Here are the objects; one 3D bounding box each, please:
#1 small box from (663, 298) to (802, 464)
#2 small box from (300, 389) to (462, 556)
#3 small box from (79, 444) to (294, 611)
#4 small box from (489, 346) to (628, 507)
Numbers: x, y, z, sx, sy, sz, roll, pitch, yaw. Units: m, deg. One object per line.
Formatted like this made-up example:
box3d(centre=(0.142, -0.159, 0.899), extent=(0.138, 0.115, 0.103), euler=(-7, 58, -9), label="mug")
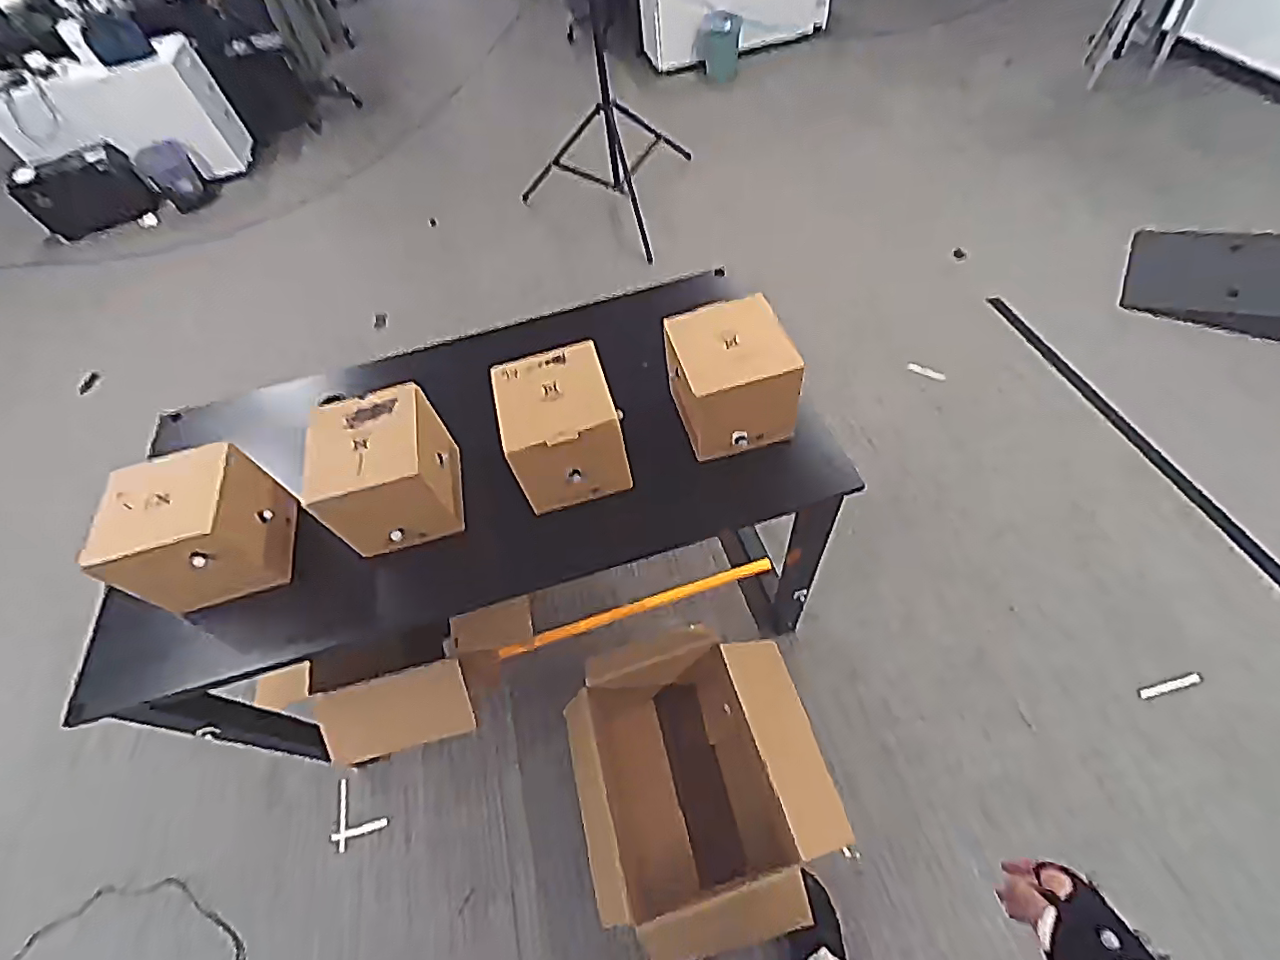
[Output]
box3d(centre=(0.142, -0.156, 0.874), extent=(0.168, 0.176, 0.179), euler=(-16, 56, -2), label="small box")
box3d(centre=(-0.391, -0.008, 0.843), extent=(0.168, 0.176, 0.179), euler=(-16, 56, -3), label="small box")
box3d(centre=(-0.662, 0.077, 0.820), extent=(0.179, 0.176, 0.168), euler=(-17, 55, -4), label="small box")
box3d(centre=(-0.123, -0.076, 0.855), extent=(0.168, 0.176, 0.179), euler=(-16, 56, -3), label="small box")
